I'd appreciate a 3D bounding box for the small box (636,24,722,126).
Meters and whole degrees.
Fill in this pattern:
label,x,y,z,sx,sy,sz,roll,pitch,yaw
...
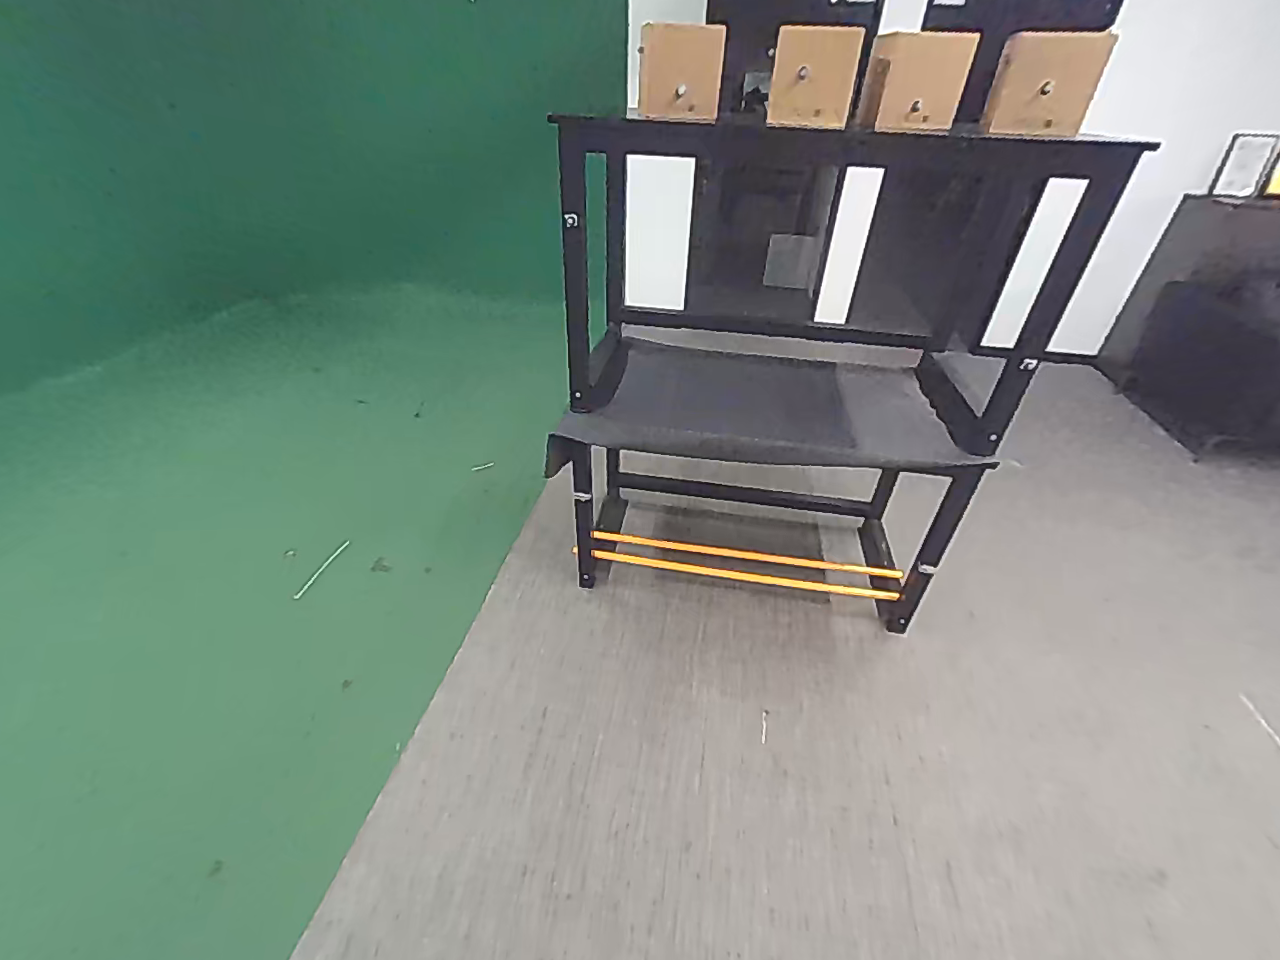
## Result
label,x,y,z,sx,sy,sz,roll,pitch,yaw
small box,0.081,-0.926,1.243,0.168,0.176,0.179,-2,37,-6

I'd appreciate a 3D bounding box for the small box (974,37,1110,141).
label,x,y,z,sx,sy,sz,roll,pitch,yaw
small box,0.835,-0.824,1.144,0.168,0.176,0.179,14,37,15
